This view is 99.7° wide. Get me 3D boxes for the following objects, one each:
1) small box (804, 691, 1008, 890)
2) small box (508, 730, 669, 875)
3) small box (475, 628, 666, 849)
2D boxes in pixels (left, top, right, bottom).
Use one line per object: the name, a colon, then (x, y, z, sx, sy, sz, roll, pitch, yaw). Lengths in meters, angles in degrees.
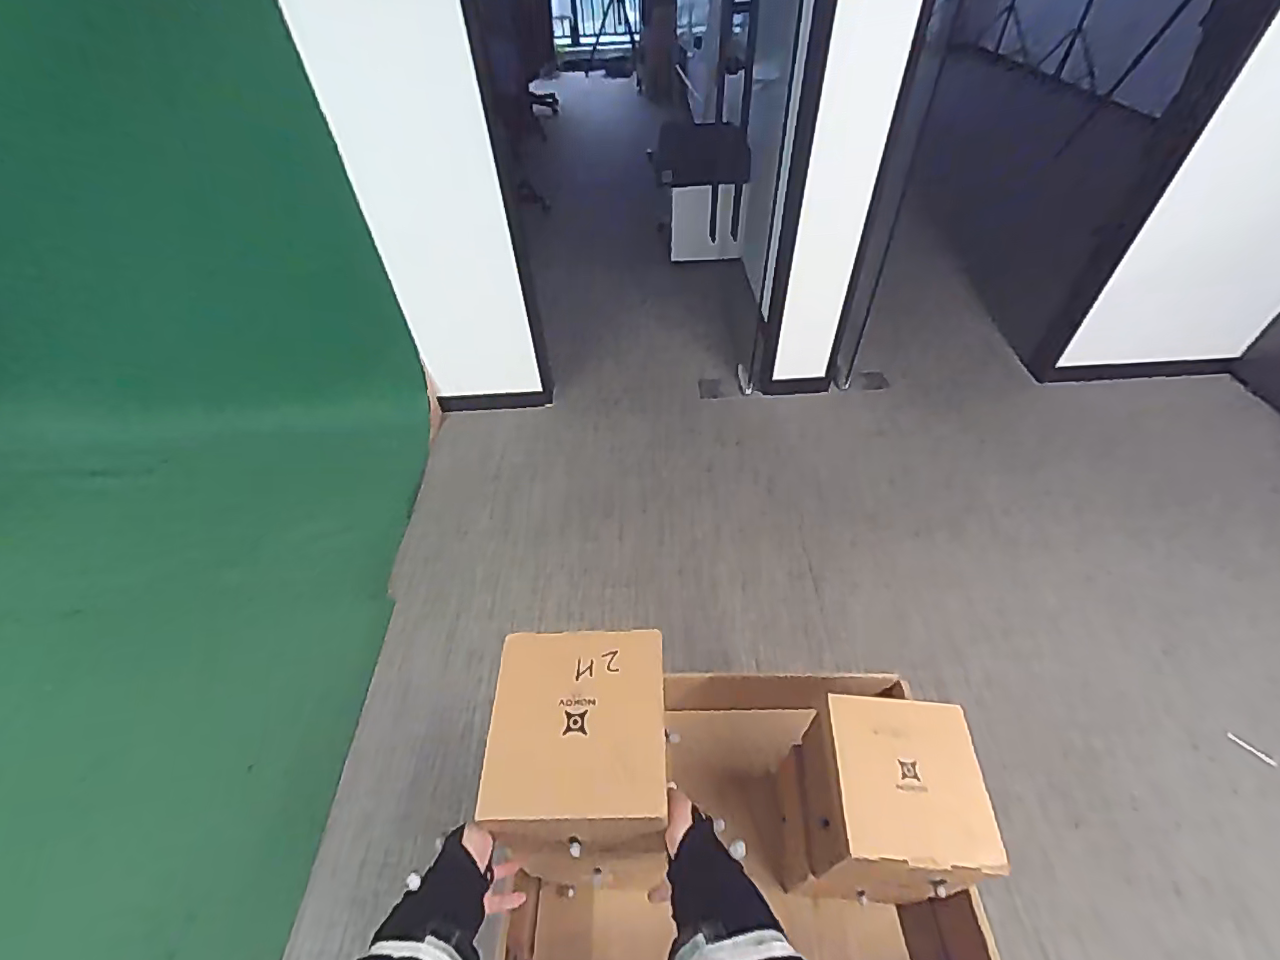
small box: (0.309, 0.389, 0.675, 0.168, 0.176, 0.179, 4, 46, 5)
small box: (-0.056, 0.393, 0.693, 0.179, 0.176, 0.168, -2, 46, 0)
small box: (-0.057, 0.277, 0.574, 0.168, 0.176, 0.179, -1, 46, 1)
